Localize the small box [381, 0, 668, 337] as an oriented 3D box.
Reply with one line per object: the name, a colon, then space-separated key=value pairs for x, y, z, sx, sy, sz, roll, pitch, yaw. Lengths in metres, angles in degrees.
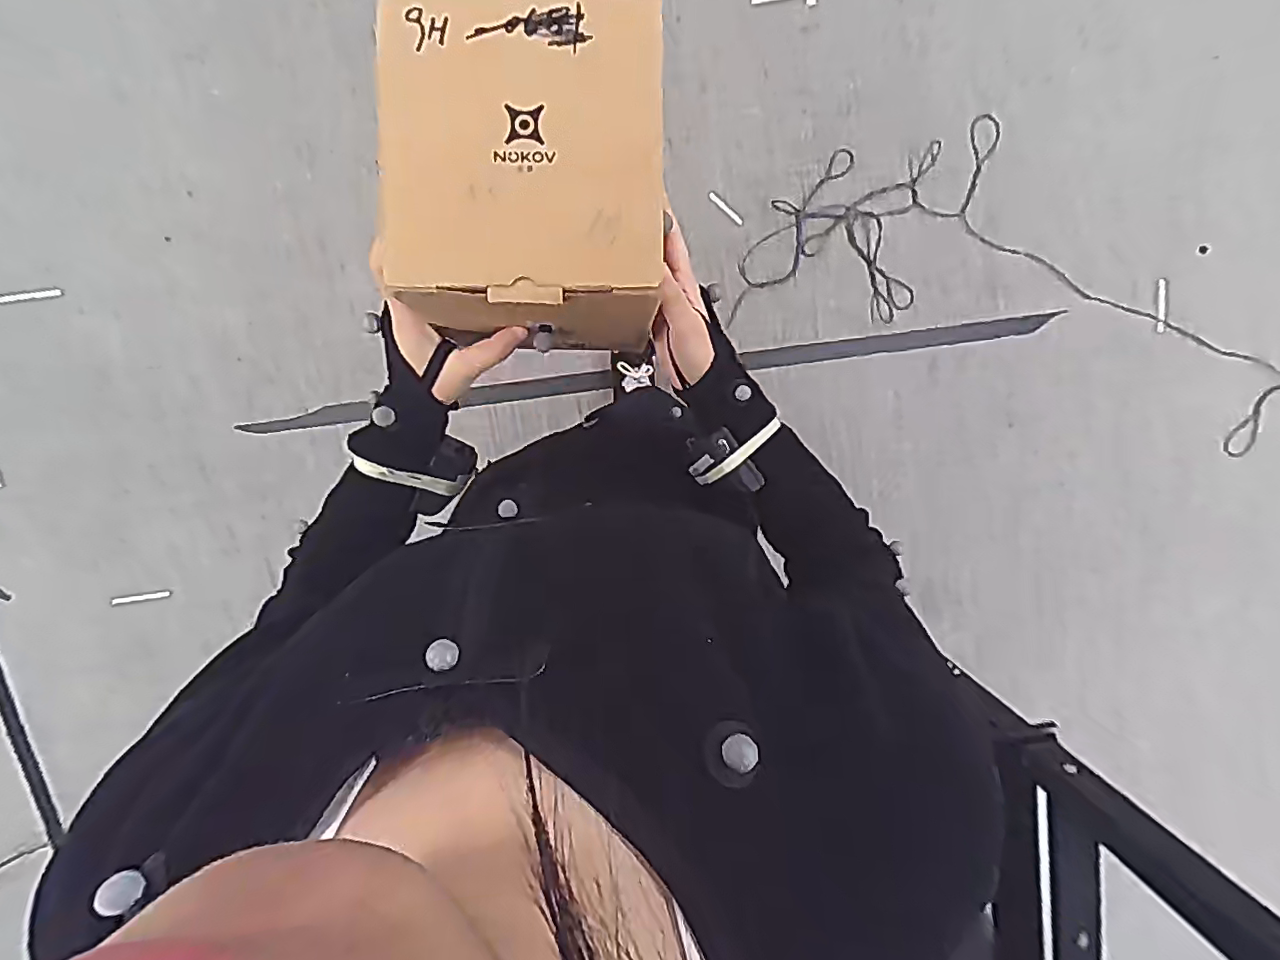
small box: x=-0.069 y=-0.206 z=0.393 sx=0.168 sy=0.176 sz=0.179 roll=-1 pitch=93 yaw=-3
